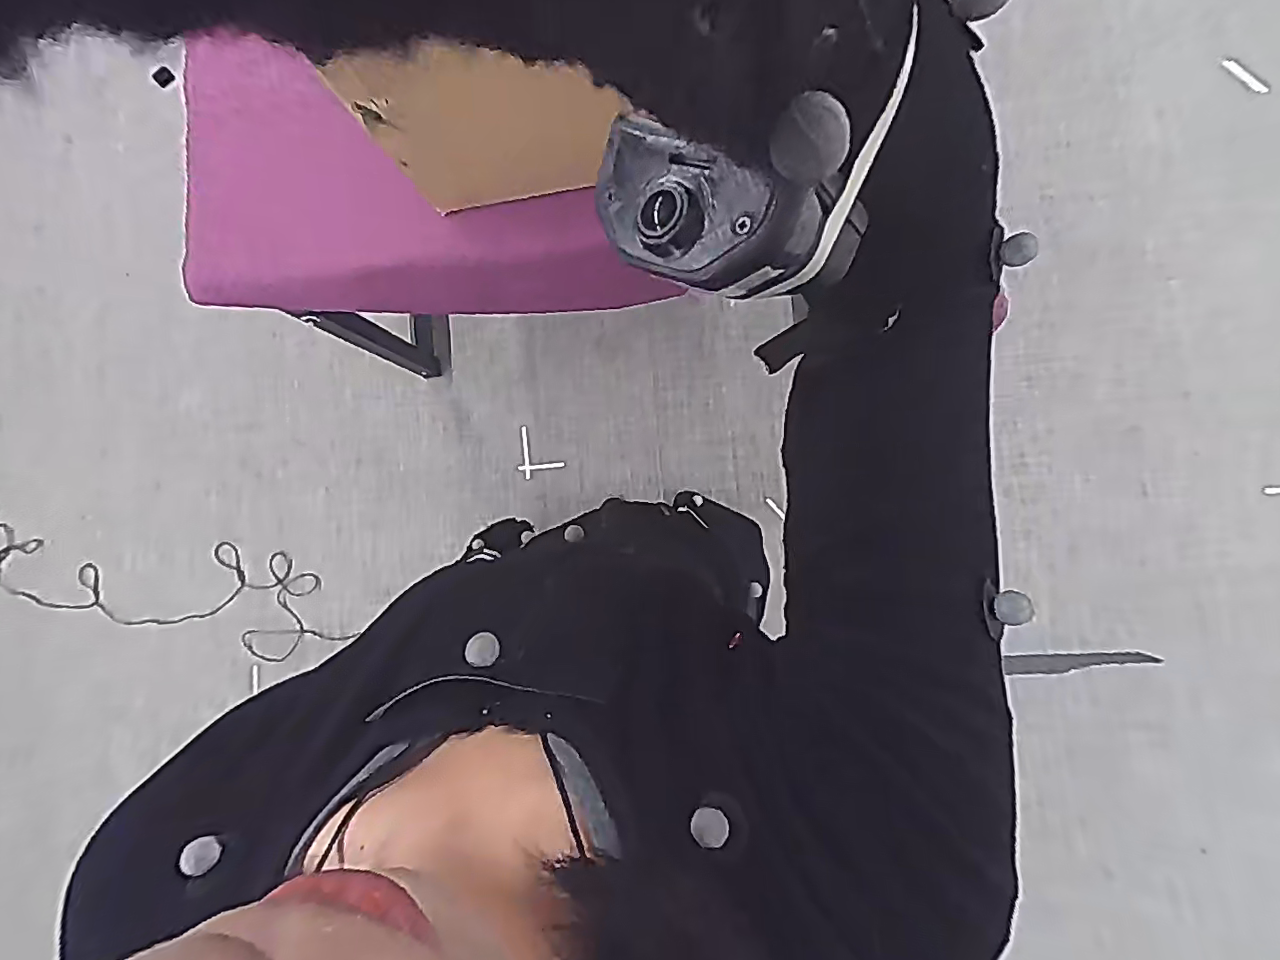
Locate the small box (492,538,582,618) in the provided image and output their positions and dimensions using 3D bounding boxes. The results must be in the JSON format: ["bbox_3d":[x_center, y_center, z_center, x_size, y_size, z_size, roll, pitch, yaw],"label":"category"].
[{"bbox_3d":[-0.270,0.257,1.450,0.179,0.176,0.168,-14,86,3],"label":"small box"}]
